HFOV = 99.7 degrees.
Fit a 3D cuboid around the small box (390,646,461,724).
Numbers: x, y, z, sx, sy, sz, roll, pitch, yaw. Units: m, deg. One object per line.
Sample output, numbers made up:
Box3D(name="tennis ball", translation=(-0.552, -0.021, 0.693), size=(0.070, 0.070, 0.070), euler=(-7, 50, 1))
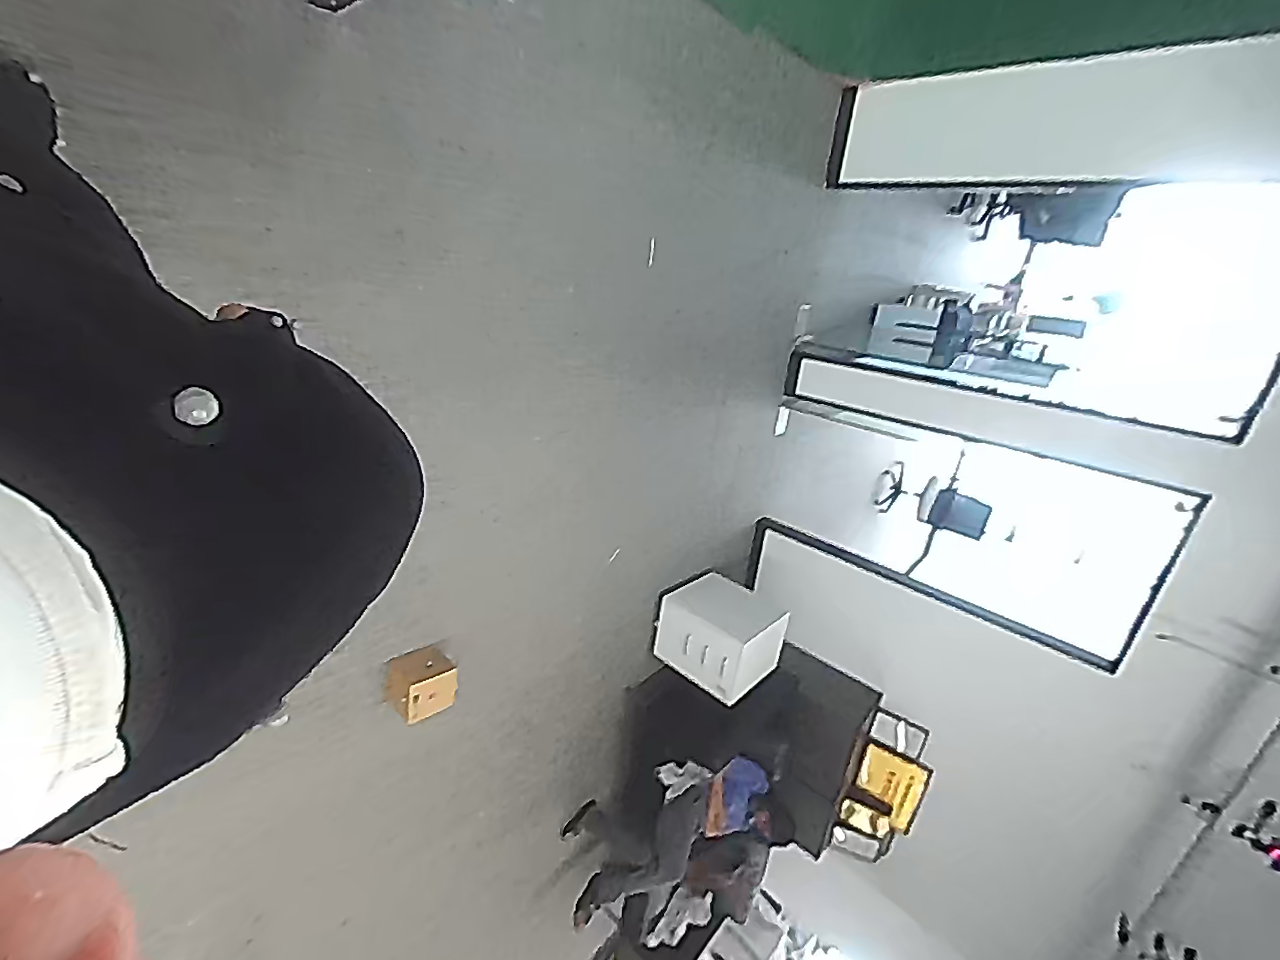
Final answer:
Box3D(name="small box", translation=(-0.768, 0.723, 1.936), size=(0.179, 0.176, 0.168), euler=(-10, 117, -49))
